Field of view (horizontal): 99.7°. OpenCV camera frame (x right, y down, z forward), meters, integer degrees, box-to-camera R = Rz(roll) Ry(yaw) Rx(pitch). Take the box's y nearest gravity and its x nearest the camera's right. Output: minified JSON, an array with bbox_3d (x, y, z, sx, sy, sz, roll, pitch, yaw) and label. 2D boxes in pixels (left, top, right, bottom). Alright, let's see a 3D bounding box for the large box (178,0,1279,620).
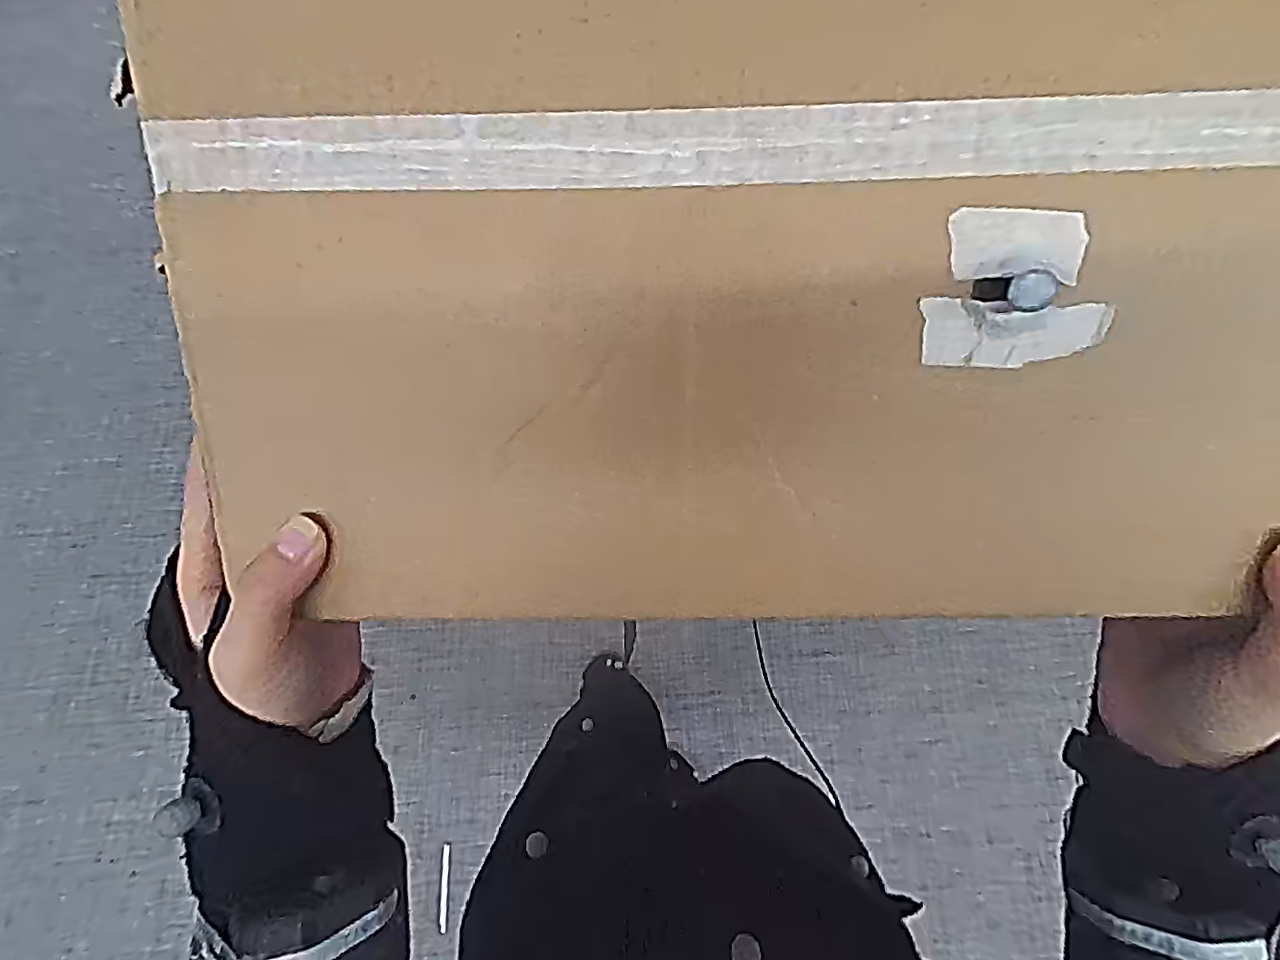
[{"bbox_3d":[0.049,-0.128,0.328,0.408,0.320,0.320,-1,101,0],"label":"large box"}]
